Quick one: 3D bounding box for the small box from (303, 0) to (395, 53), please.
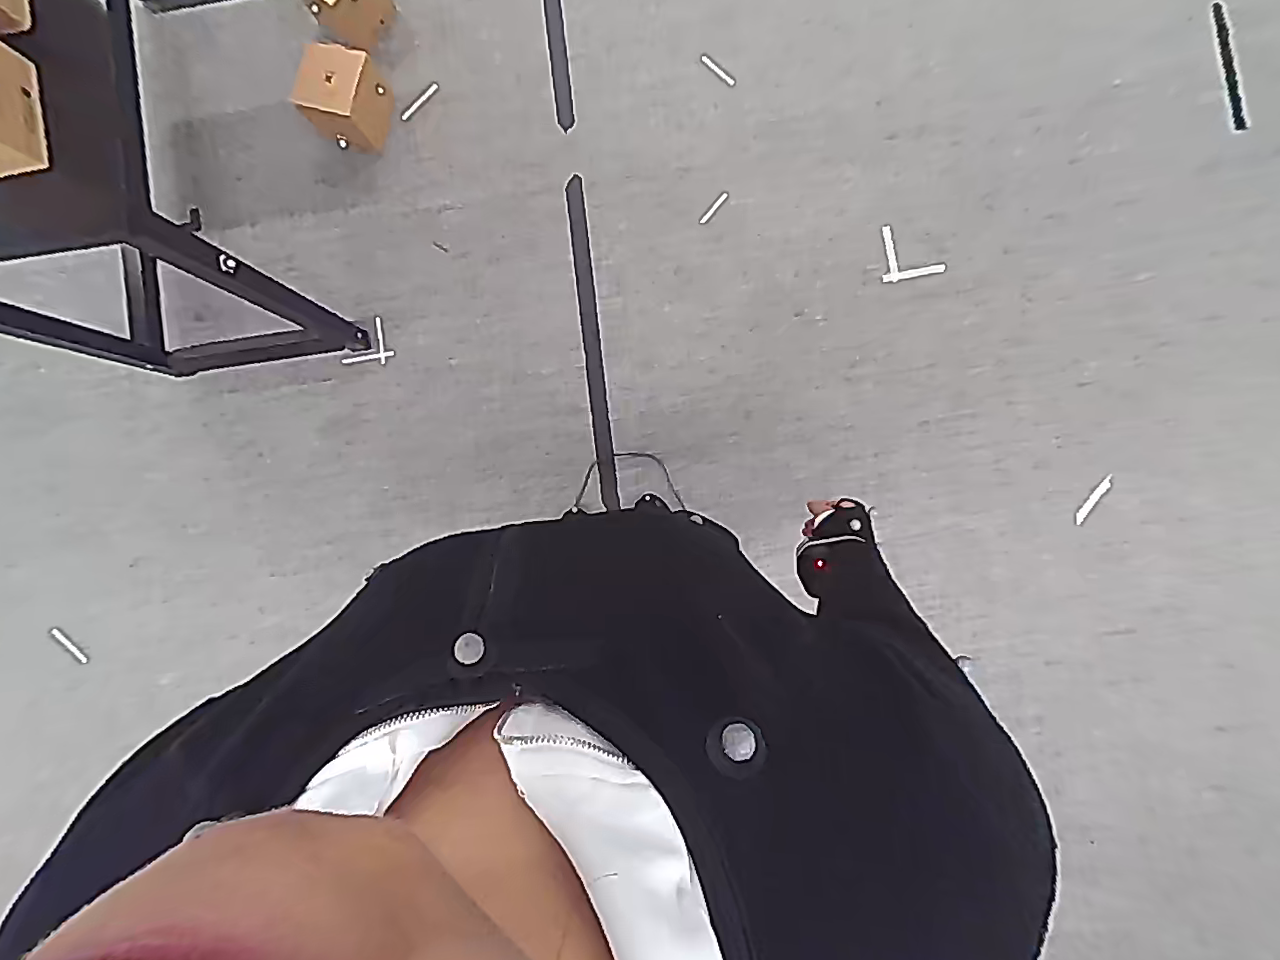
[{"bbox_3d":[-0.821,-1.340,1.488,0.179,0.176,0.168,36,90,2],"label":"small box"}]

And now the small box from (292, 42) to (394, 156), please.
[{"bbox_3d":[-0.805,-1.037,1.484,0.168,0.176,0.179,13,90,3],"label":"small box"}]

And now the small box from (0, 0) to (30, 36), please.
[{"bbox_3d":[-1.030,-0.758,0.753,0.179,0.176,0.168,-8,89,1],"label":"small box"}]
